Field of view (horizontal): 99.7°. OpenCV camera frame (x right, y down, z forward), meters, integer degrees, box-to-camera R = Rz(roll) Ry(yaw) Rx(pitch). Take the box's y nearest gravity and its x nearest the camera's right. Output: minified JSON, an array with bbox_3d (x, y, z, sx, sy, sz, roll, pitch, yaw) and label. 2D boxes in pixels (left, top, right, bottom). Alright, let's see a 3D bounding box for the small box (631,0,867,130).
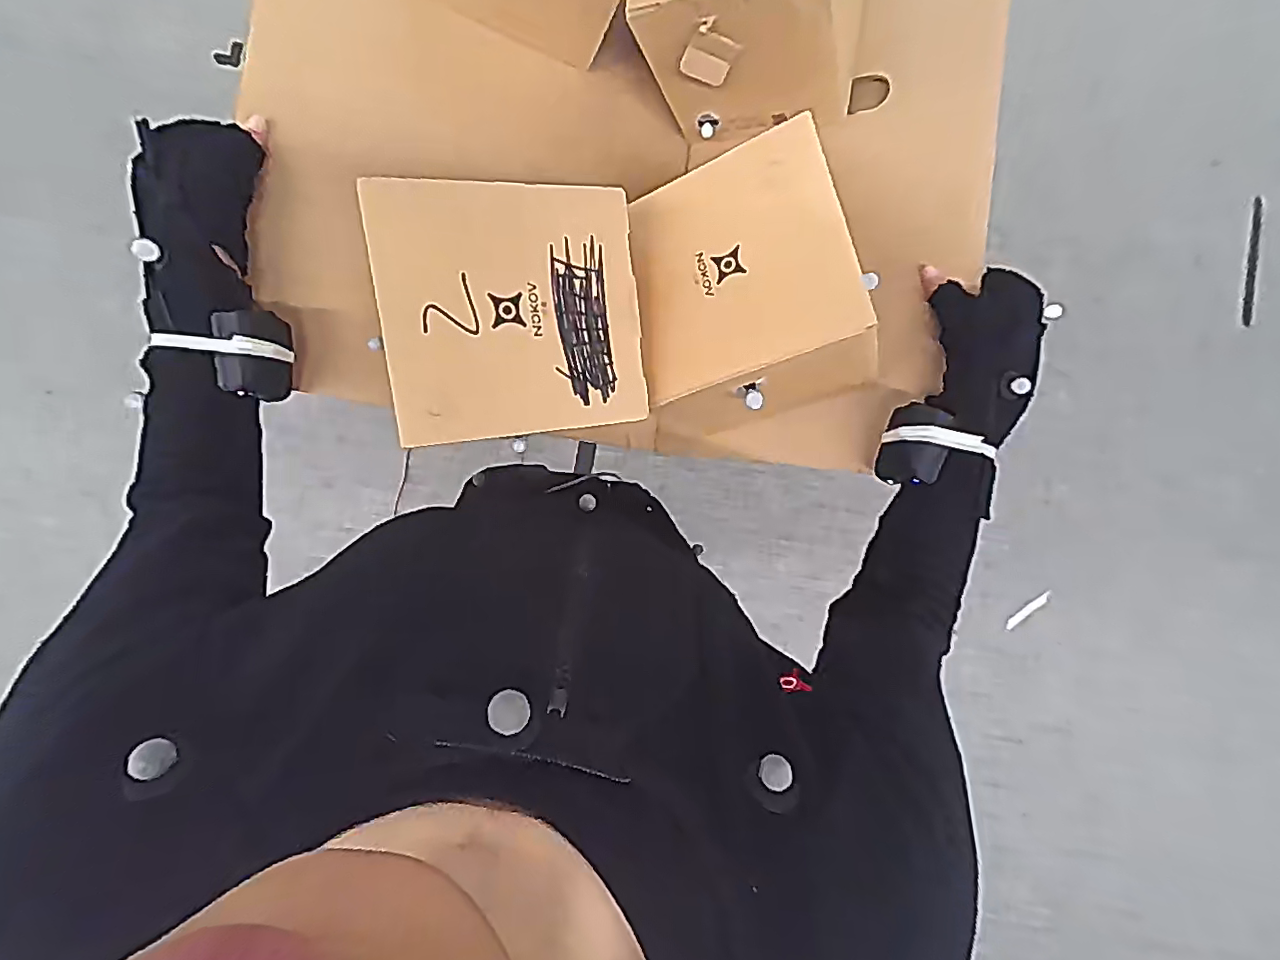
[{"bbox_3d":[0.112,-0.453,0.492,0.168,0.176,0.179,9,87,25],"label":"small box"}]
